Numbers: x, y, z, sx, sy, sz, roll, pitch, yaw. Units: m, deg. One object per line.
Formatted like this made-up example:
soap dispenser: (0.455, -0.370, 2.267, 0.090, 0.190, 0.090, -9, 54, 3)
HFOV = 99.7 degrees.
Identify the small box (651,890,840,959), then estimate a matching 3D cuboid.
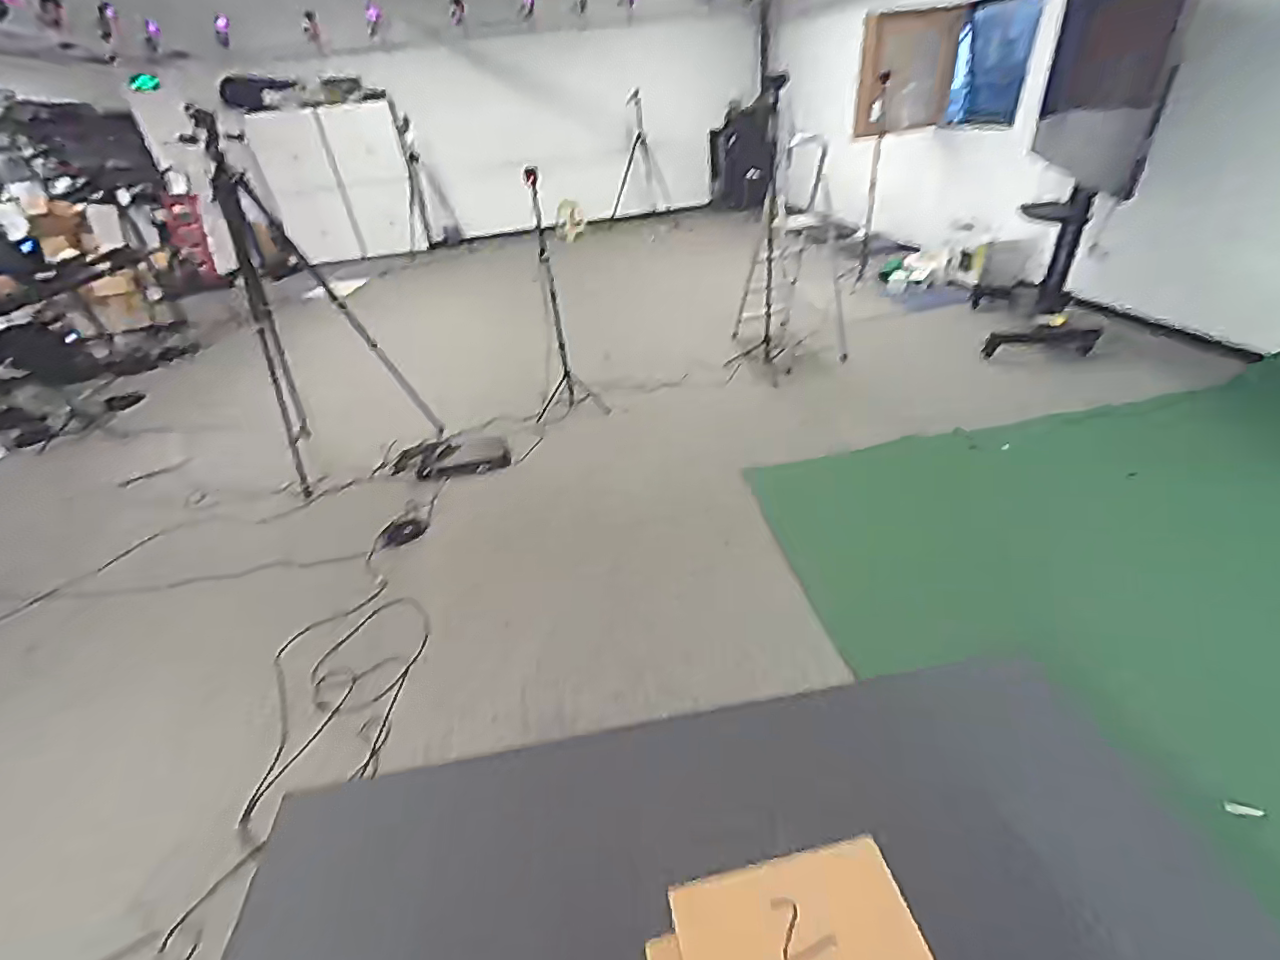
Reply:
small box: (0.112, 0.523, 0.486, 0.168, 0.176, 0.179, -12, 34, -7)
